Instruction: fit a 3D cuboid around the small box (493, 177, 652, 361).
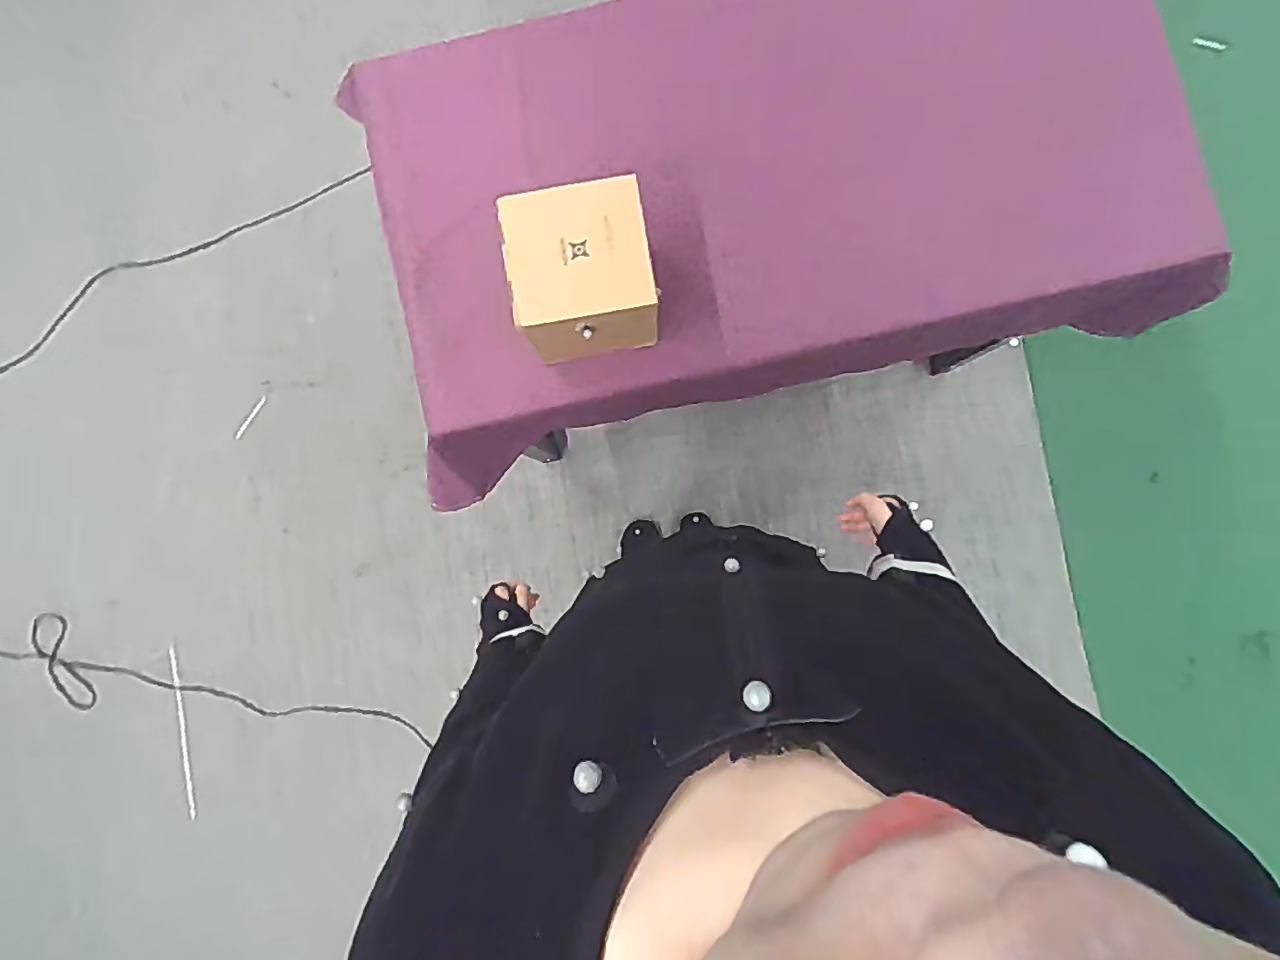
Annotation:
[{"bbox_3d":[-0.081,-0.272,0.736,0.179,0.176,0.168,-10,87,1],"label":"small box"}]
